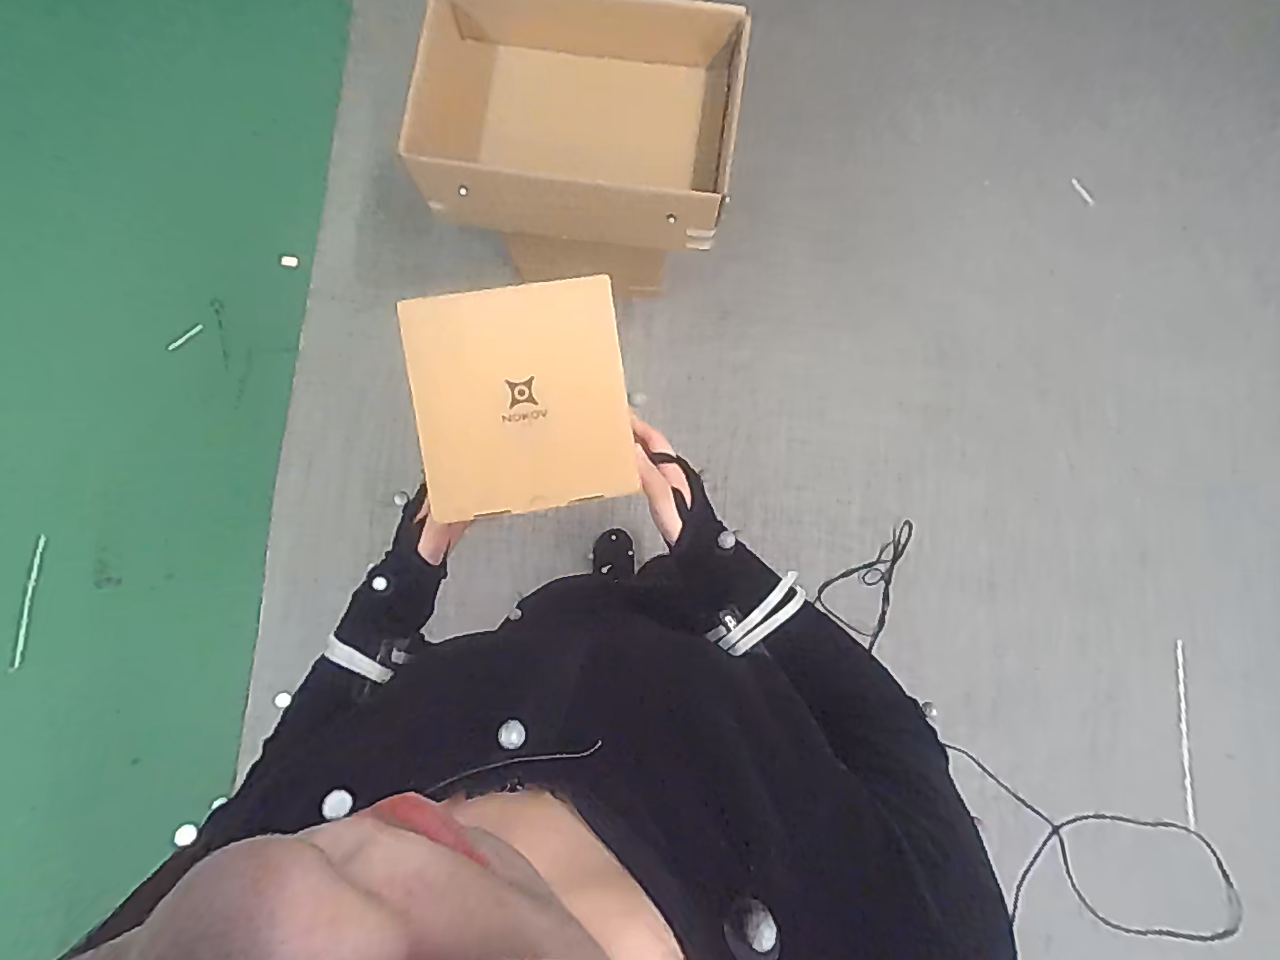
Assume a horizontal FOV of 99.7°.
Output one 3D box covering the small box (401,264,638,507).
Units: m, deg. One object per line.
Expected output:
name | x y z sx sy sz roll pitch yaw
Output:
small box | -0.099 -0.077 0.502 0.168 0.176 0.179 -8 93 -4
